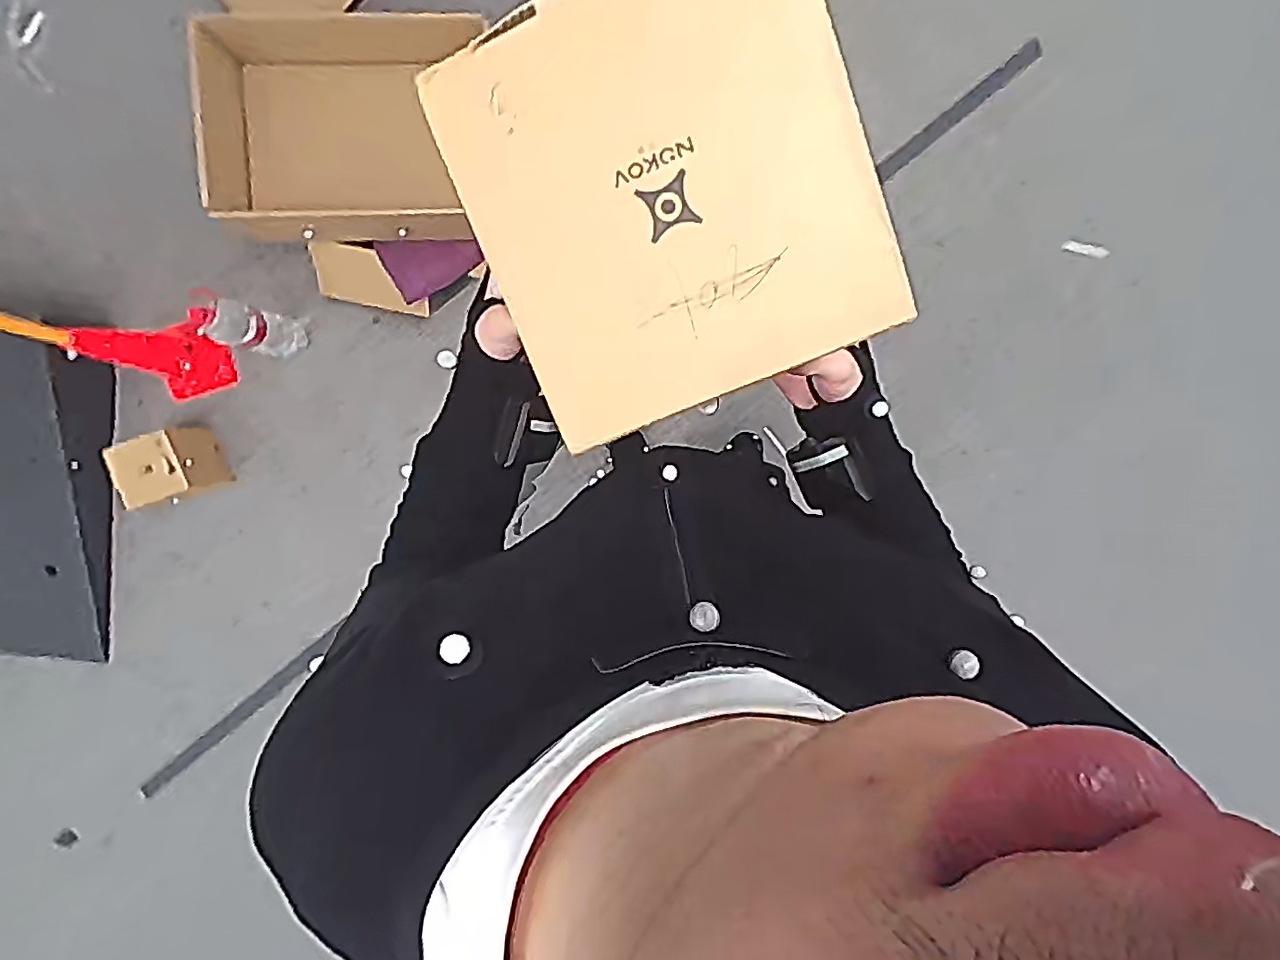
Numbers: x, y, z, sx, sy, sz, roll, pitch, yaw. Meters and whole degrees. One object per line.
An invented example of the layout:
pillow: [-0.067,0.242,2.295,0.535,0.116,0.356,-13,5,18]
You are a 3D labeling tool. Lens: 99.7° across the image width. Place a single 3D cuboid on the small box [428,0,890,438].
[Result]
small box: [0.015,-0.141,0.320,0.168,0.176,0.179,-20,100,9]
